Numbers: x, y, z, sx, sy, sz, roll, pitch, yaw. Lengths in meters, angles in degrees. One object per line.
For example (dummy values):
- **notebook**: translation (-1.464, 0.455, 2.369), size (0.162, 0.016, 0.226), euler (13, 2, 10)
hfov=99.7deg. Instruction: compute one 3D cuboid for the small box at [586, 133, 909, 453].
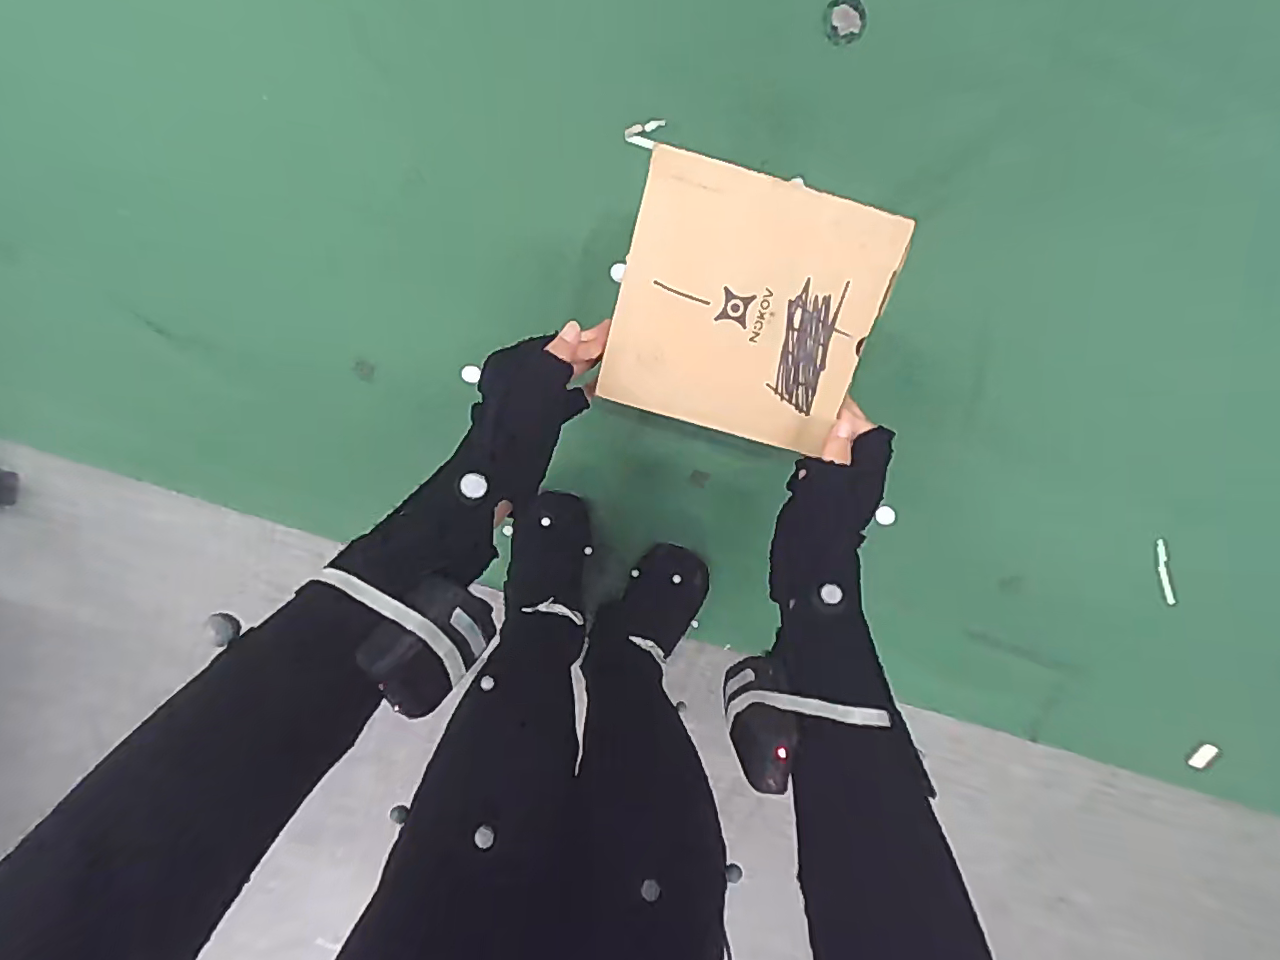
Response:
- **small box**: translation (0.069, -0.140, 0.440), size (0.179, 0.176, 0.168), euler (18, 106, -5)
